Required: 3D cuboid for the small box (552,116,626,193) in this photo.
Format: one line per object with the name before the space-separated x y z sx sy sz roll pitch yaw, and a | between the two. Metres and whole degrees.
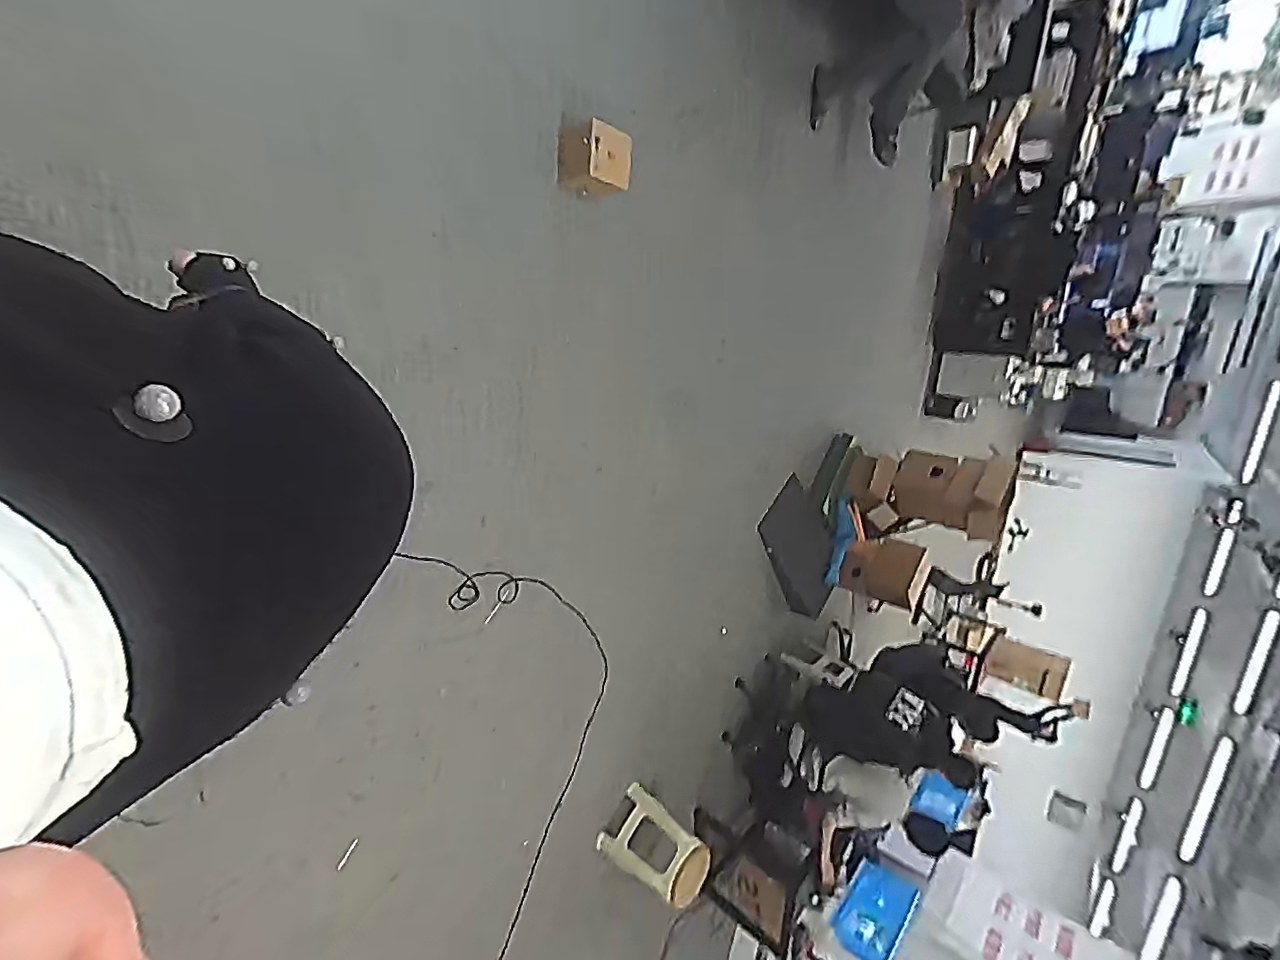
small box | -0.169 -1.067 1.791 0.179 0.176 0.168 -8 107 -48
